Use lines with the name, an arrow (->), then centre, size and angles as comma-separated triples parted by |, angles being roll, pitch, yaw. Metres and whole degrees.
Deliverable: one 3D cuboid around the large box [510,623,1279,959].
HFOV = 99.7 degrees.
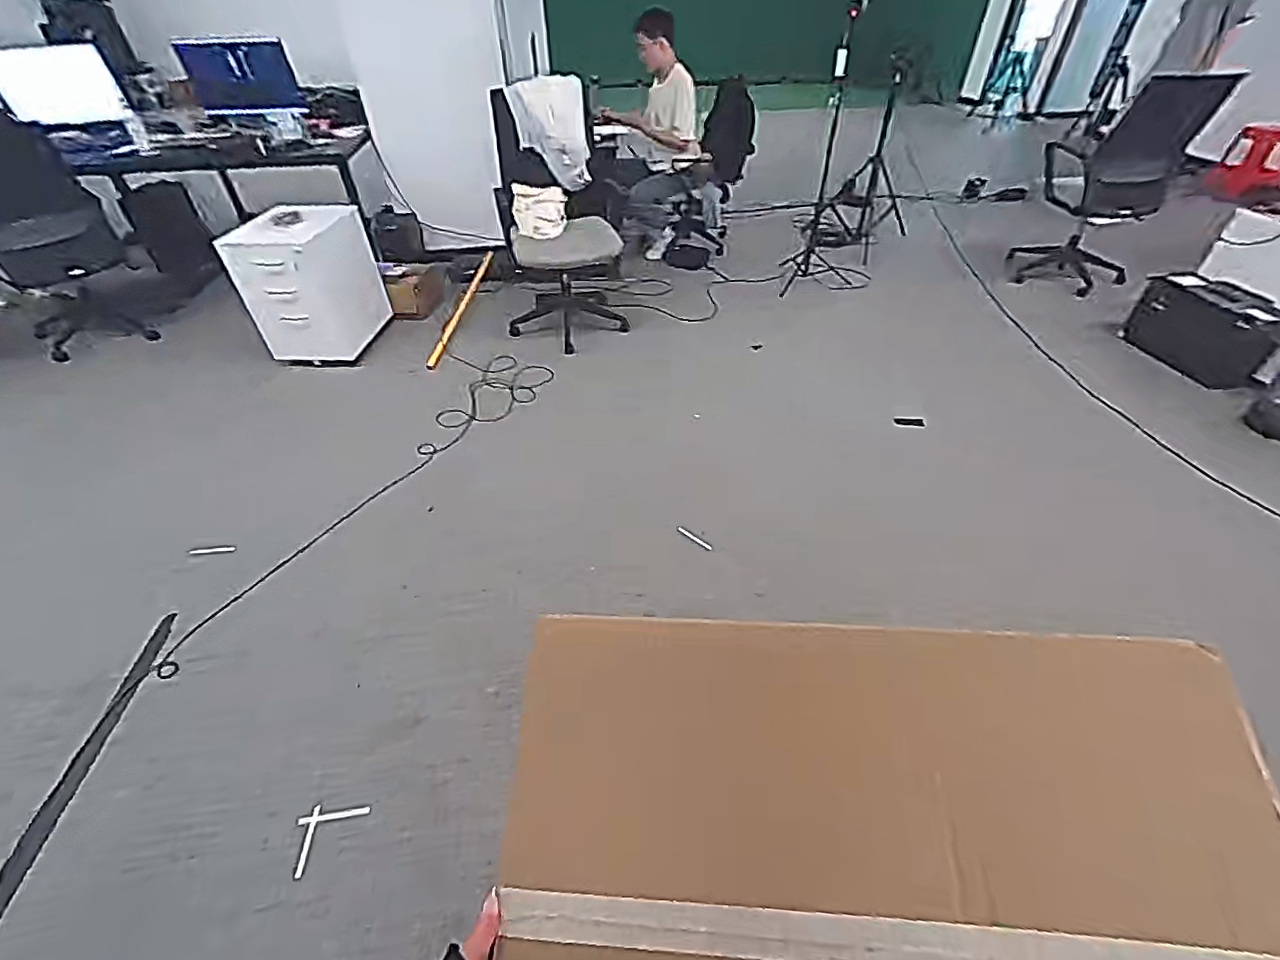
large box -> 0.140, 0.303, 0.410 | 0.408, 0.320, 0.320 | 1, 64, 6
